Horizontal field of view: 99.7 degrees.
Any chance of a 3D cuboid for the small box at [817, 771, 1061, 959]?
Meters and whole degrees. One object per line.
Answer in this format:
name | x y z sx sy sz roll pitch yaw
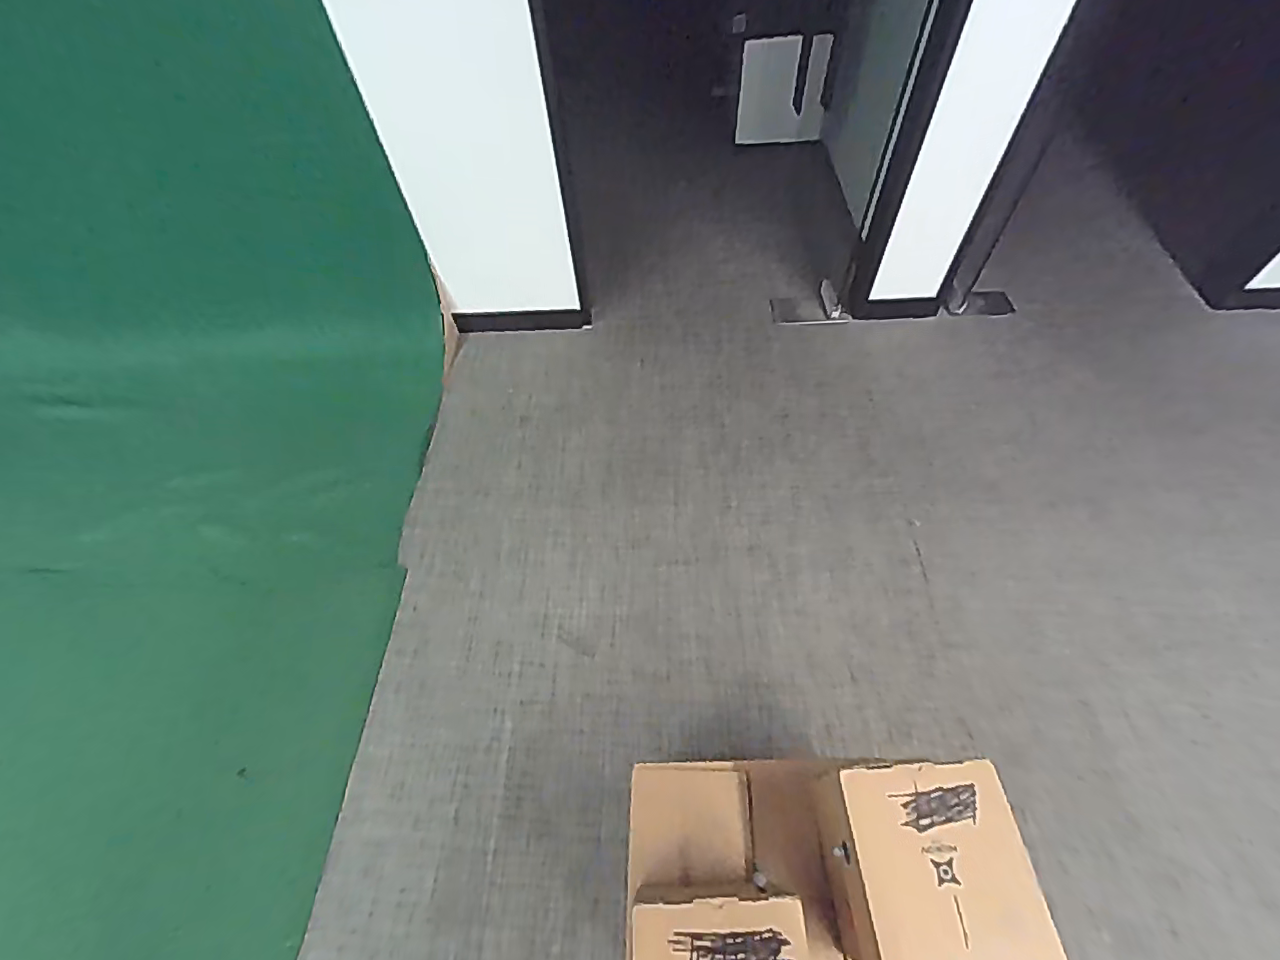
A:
small box | 0.308 0.435 0.601 0.168 0.176 0.179 -5 56 3
